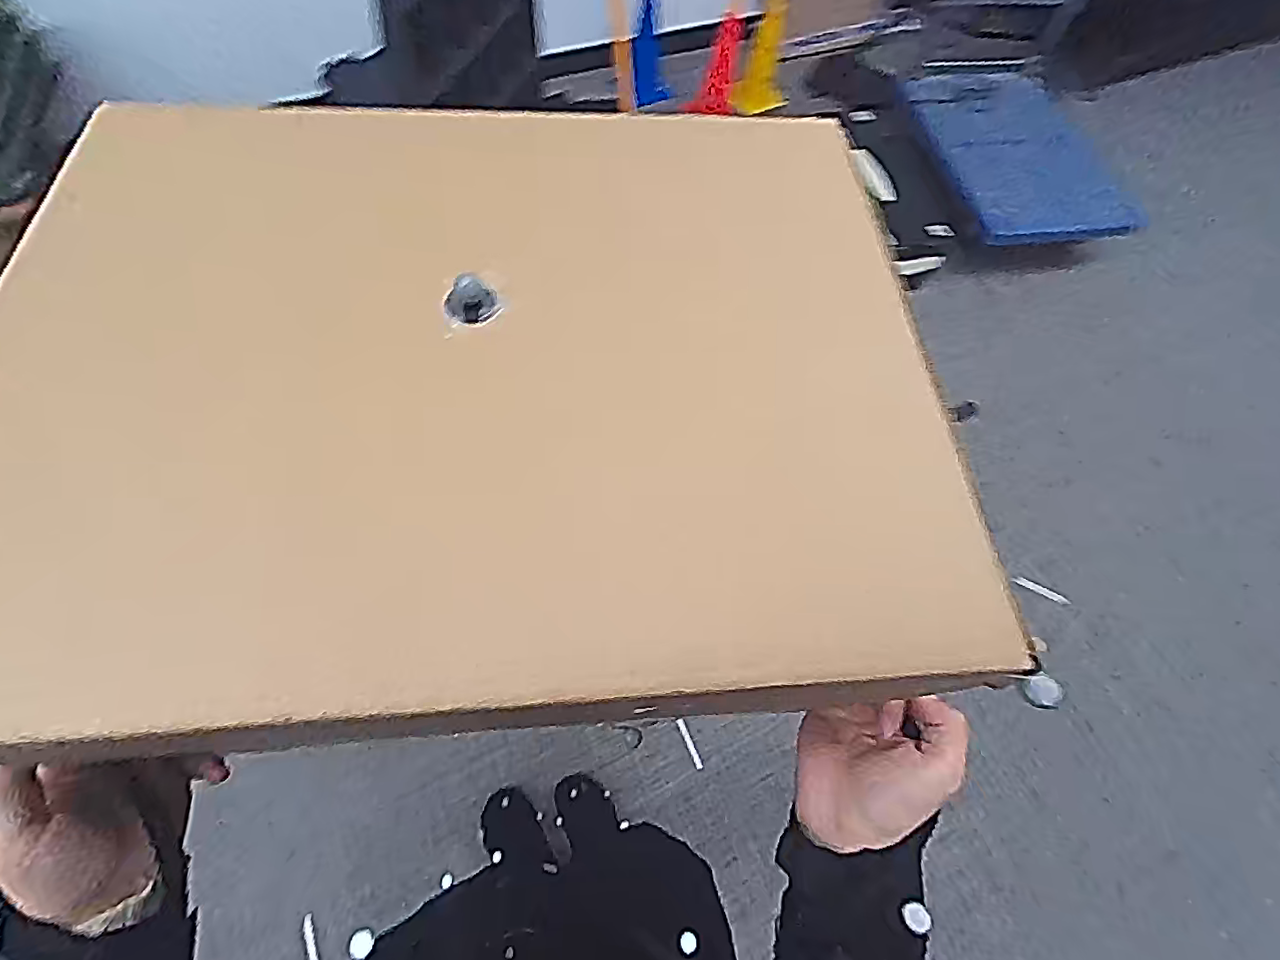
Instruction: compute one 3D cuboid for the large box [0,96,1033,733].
[{"bbox_3d":[-0.077,-0.013,0.372,0.408,0.320,0.320,-3,67,-4],"label":"large box"}]
